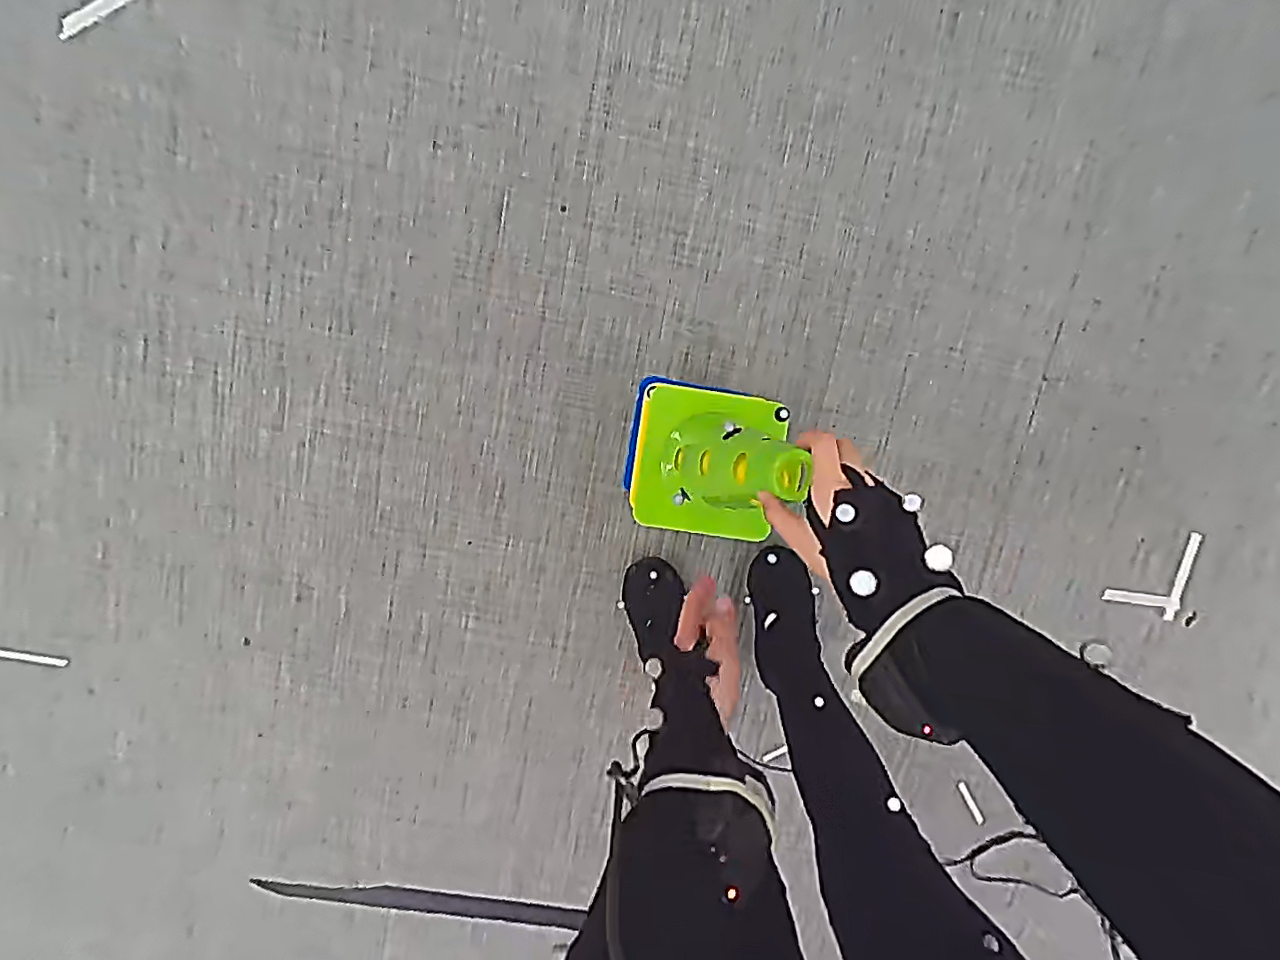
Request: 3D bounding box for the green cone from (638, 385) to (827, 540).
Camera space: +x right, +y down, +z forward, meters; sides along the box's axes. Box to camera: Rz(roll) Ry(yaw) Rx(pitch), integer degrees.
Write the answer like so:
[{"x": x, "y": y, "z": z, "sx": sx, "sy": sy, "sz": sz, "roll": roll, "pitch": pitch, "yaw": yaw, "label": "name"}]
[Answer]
[{"x": 0.111, "y": -0.012, "z": 0.583, "sx": 0.200, "sy": 0.368, "sz": 0.202, "roll": 8, "pitch": 93, "yaw": -3, "label": "green cone"}]
